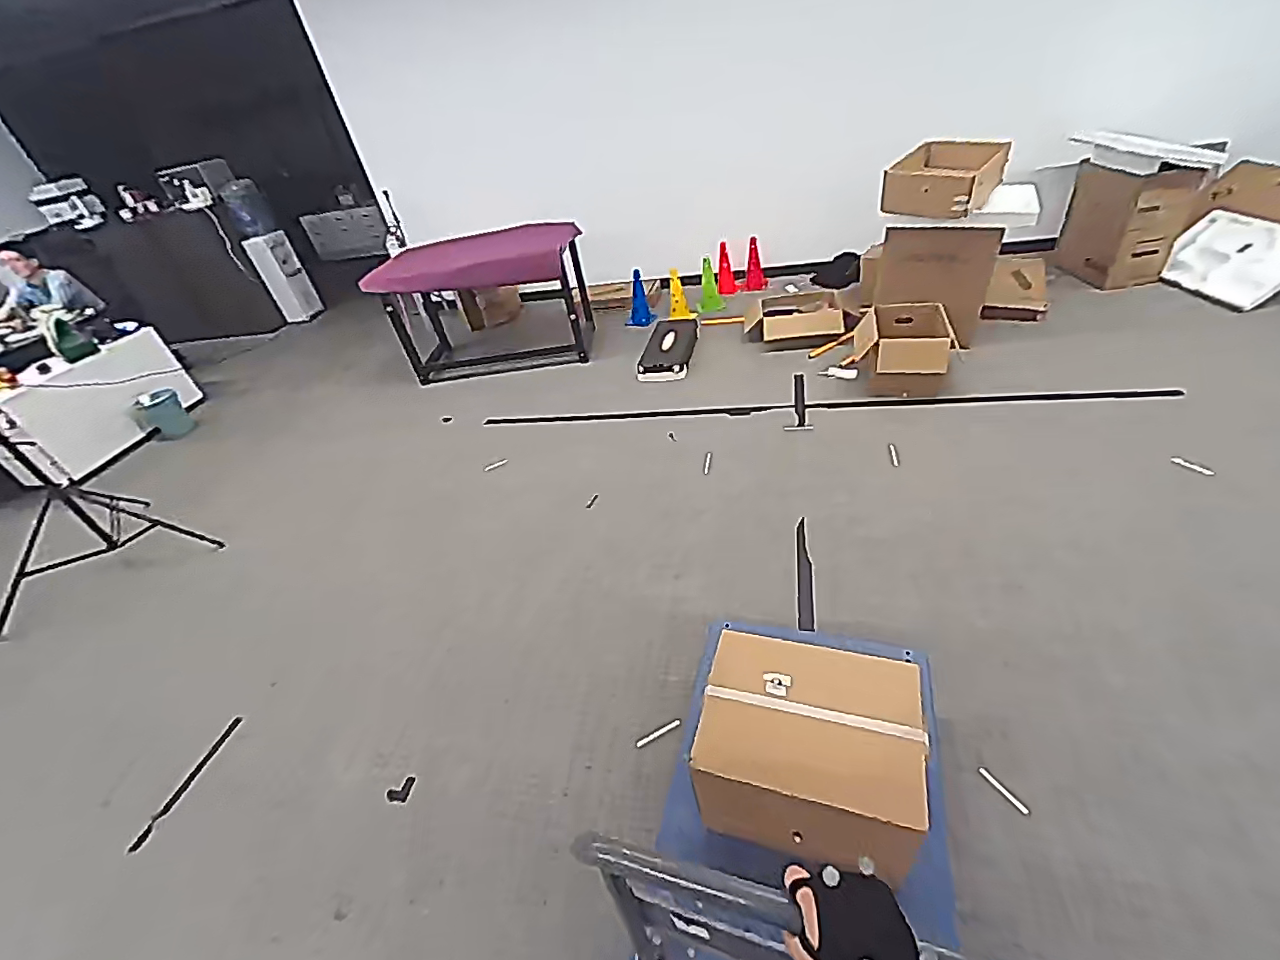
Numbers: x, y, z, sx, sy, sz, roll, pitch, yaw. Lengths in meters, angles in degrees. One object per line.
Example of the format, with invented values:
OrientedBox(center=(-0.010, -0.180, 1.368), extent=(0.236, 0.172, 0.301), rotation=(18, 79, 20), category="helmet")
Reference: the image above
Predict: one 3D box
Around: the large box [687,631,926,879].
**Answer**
OrientedBox(center=(0.346, 0.558, 1.128), extent=(0.408, 0.320, 0.320), rotation=(4, 39, 21), category="large box")
